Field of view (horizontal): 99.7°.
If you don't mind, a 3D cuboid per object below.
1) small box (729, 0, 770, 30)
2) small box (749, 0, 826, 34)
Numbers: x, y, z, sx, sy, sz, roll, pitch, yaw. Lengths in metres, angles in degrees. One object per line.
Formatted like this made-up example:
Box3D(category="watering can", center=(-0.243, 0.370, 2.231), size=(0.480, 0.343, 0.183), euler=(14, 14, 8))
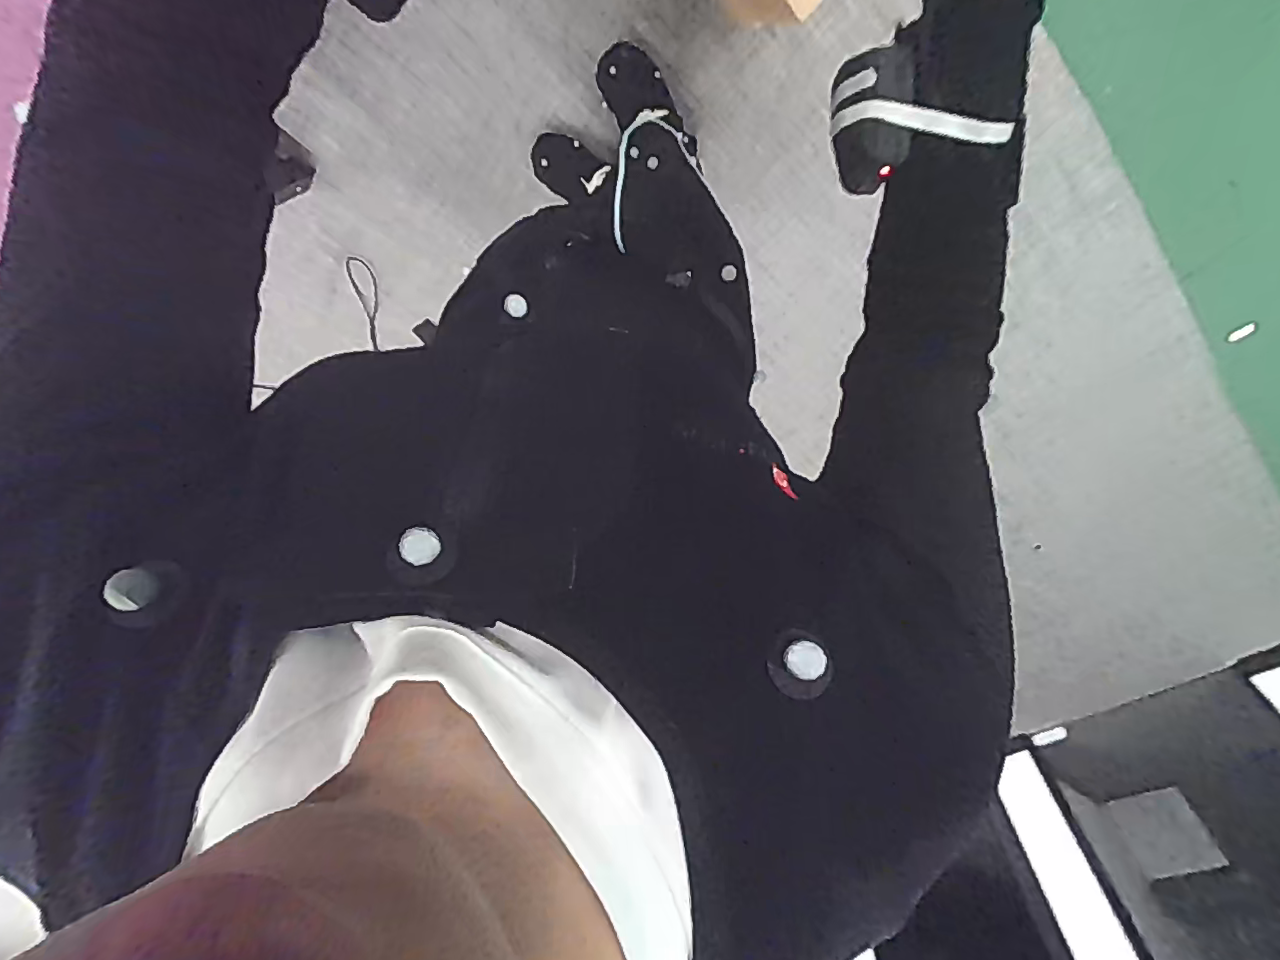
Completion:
Box3D(category="small box", center=(0.183, -0.805, 0.781), size=(0.168, 0.176, 0.179), euler=(-36, 121, 26))
Box3D(category="small box", center=(0.190, -0.698, 0.659), size=(0.168, 0.176, 0.179), euler=(-37, 120, 27))
